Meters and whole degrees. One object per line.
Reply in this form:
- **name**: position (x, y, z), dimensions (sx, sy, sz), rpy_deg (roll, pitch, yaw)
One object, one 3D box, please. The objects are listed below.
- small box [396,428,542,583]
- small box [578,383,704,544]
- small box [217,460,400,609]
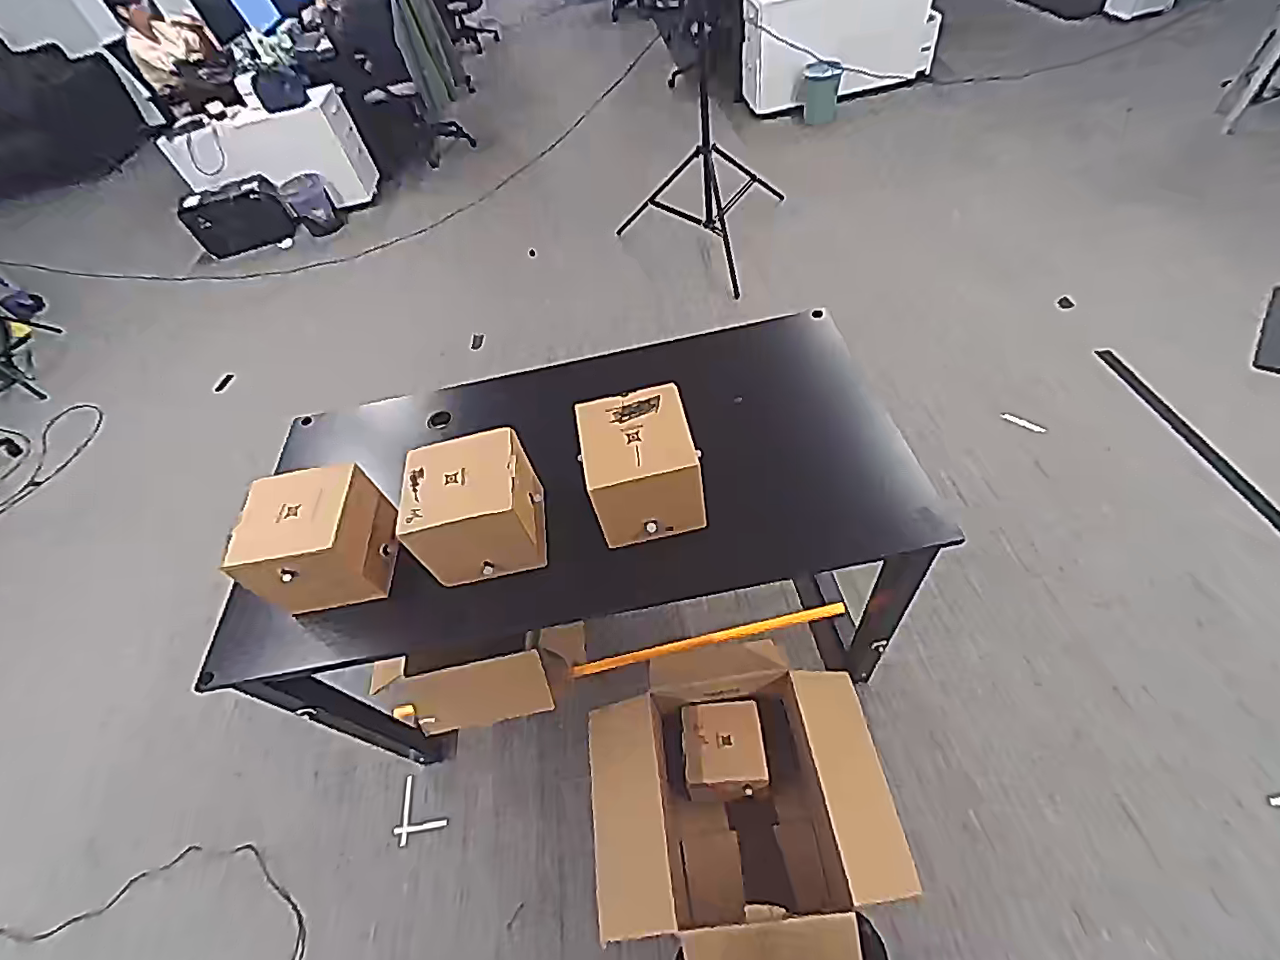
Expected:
- **small box**: position (-0.260, 0.044, 0.869), dimensions (0.179, 0.176, 0.168), rpy_deg (-12, 51, 0)
- **small box**: position (0.003, -0.024, 0.870), dimensions (0.168, 0.176, 0.179), rpy_deg (-13, 52, 1)
- **small box**: position (-0.519, 0.094, 0.880), dimensions (0.179, 0.176, 0.168), rpy_deg (-10, 53, 1)
